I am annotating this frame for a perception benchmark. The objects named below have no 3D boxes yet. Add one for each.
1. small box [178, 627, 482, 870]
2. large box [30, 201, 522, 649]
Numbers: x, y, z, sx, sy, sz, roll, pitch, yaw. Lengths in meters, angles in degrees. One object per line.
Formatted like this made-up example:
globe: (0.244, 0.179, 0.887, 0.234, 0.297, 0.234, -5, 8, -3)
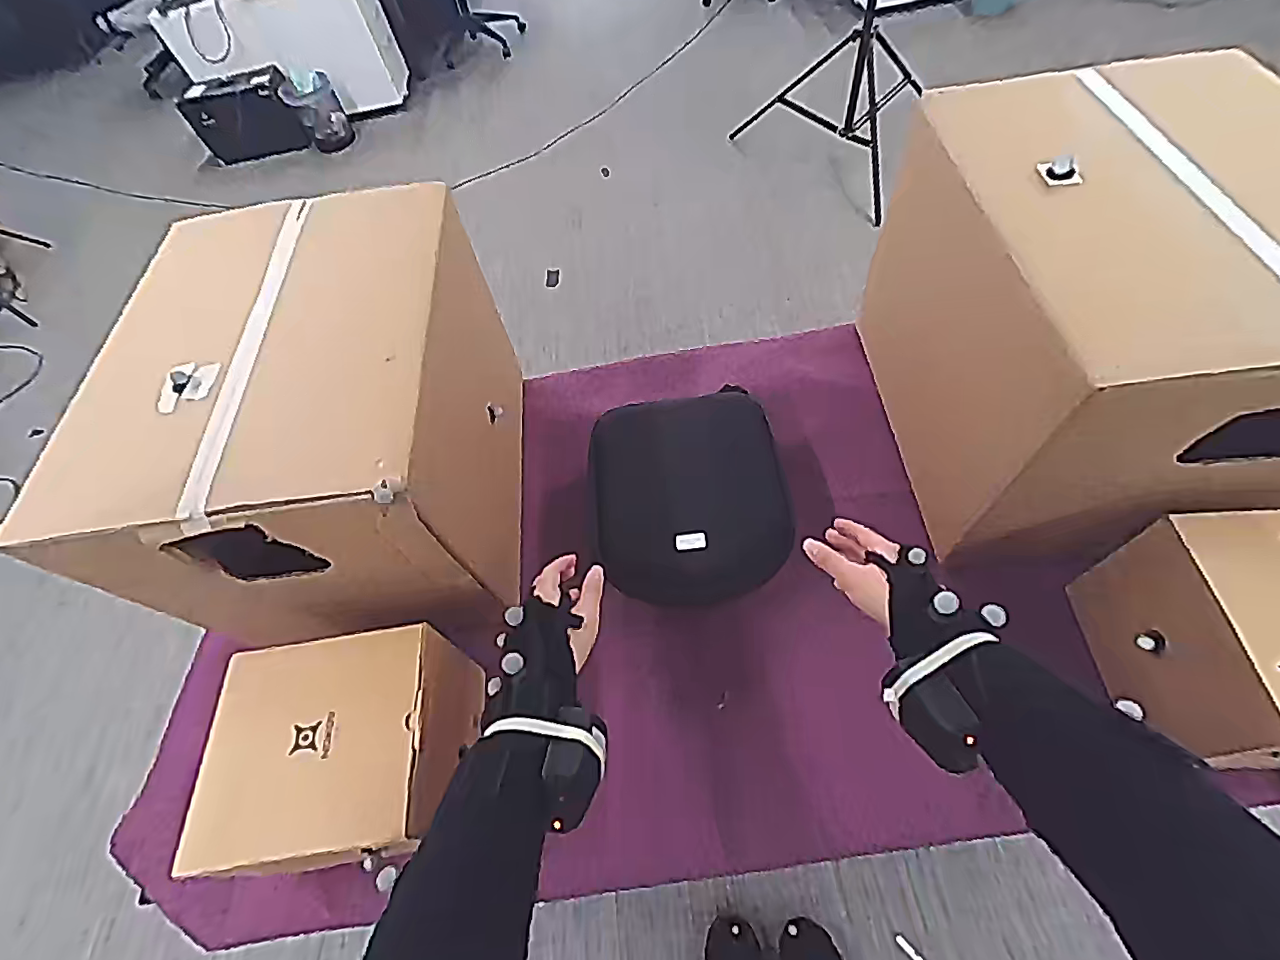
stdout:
small box: (-0.265, 0.259, 0.514, 0.179, 0.176, 0.168, -9, 56, -2)
large box: (-0.331, -0.050, 0.637, 0.320, 0.320, 0.408, -9, 60, 2)
